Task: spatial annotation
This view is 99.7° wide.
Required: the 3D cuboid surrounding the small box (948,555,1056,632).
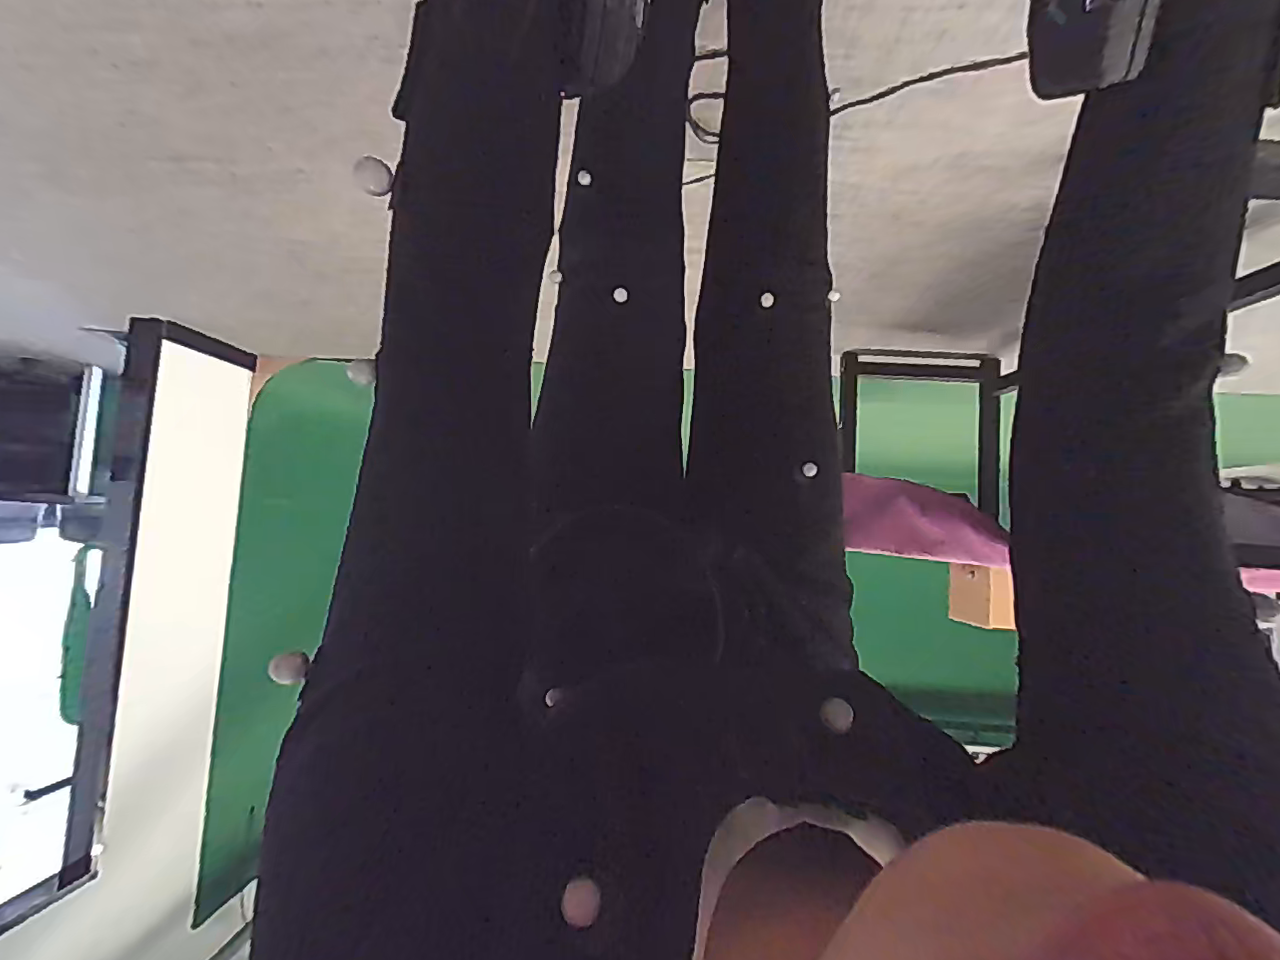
[{"bbox_3d":[0.930,0.288,1.397,0.179,0.176,0.168,4,174,-3],"label":"small box"}]
